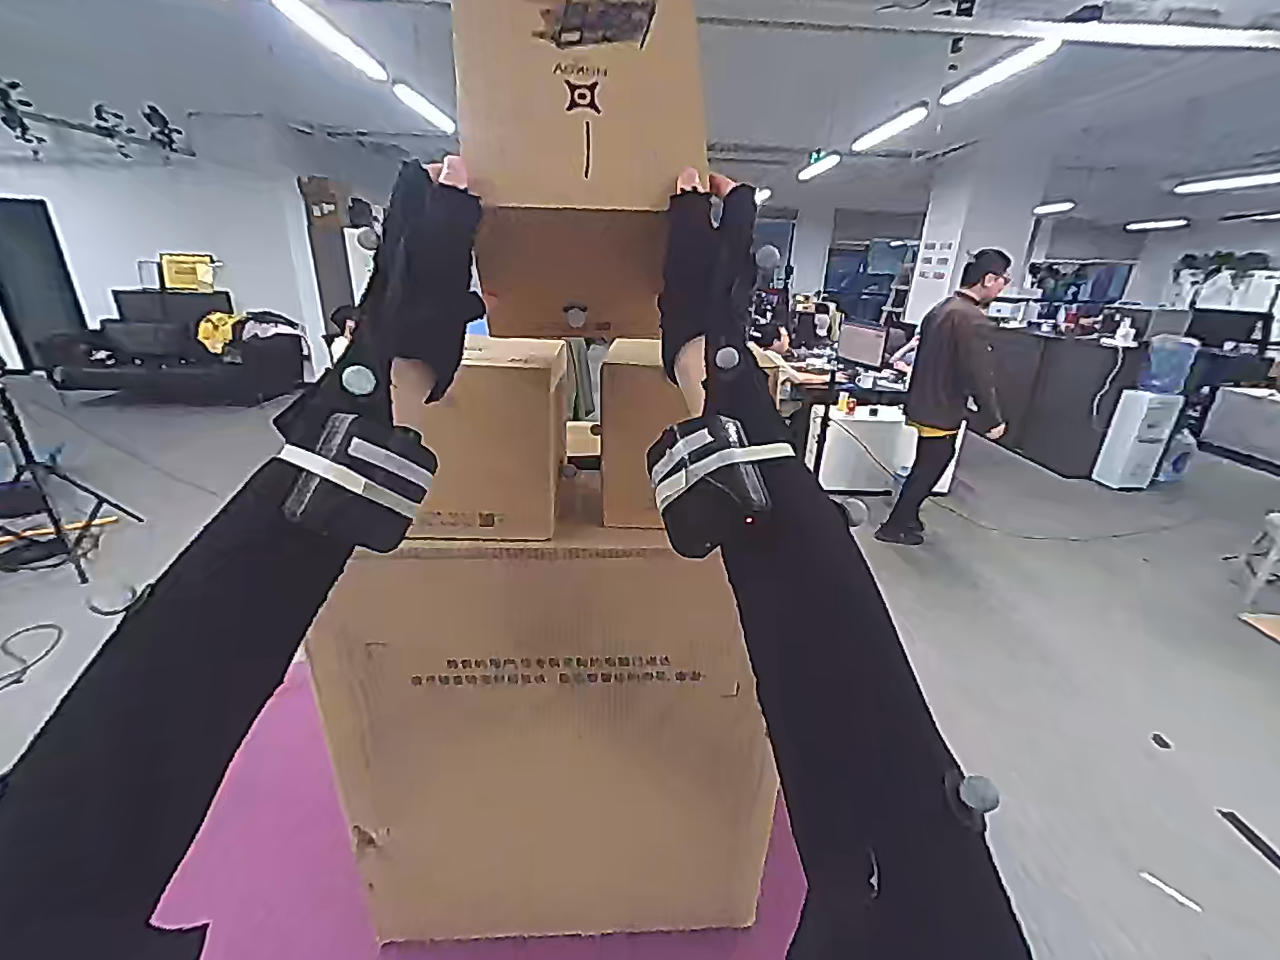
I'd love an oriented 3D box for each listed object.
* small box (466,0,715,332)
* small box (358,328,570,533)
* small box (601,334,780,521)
[{"bbox_3d":[-0.050,-0.245,0.451,0.168,0.179,0.176,-4,-15,-10],"label":"small box"},{"bbox_3d":[-0.161,-0.059,0.555,0.168,0.176,0.179,1,21,-3],"label":"small box"},{"bbox_3d":[0.049,-0.064,0.592,0.168,0.176,0.179,2,20,1],"label":"small box"}]
